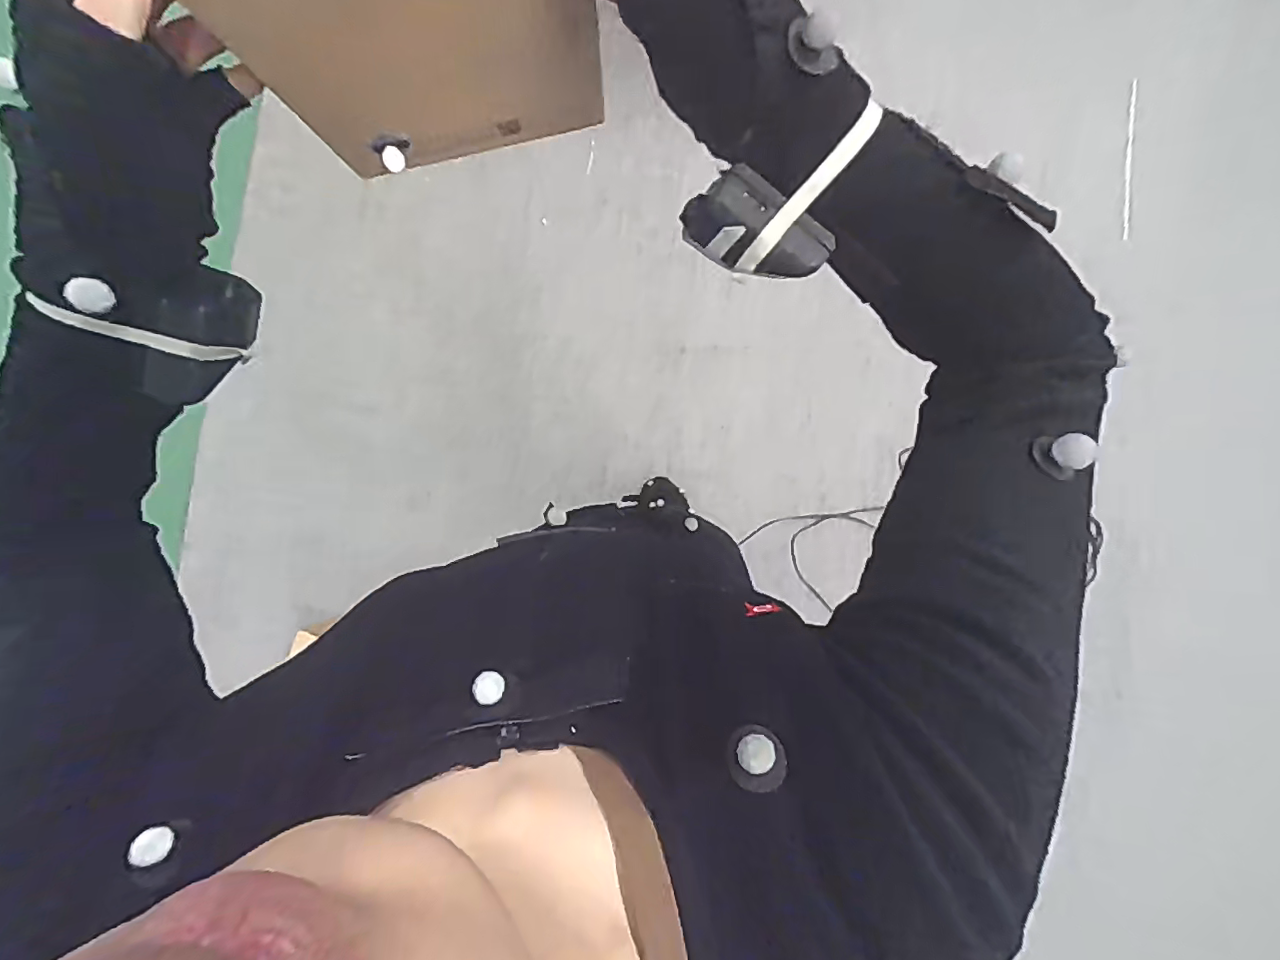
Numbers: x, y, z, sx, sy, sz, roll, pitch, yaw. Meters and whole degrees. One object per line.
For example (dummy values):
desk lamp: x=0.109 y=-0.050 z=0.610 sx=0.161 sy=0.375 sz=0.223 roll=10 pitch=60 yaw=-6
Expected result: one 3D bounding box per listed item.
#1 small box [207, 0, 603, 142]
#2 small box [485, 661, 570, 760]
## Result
small box: x=-0.117 y=-0.298 z=0.261 sx=0.168 sy=0.176 sz=0.179 roll=-13 pitch=93 yaw=0
small box: x=-0.278 y=0.579 z=1.376 sx=0.168 sy=0.176 sz=0.179 roll=8 pitch=85 yaw=1
